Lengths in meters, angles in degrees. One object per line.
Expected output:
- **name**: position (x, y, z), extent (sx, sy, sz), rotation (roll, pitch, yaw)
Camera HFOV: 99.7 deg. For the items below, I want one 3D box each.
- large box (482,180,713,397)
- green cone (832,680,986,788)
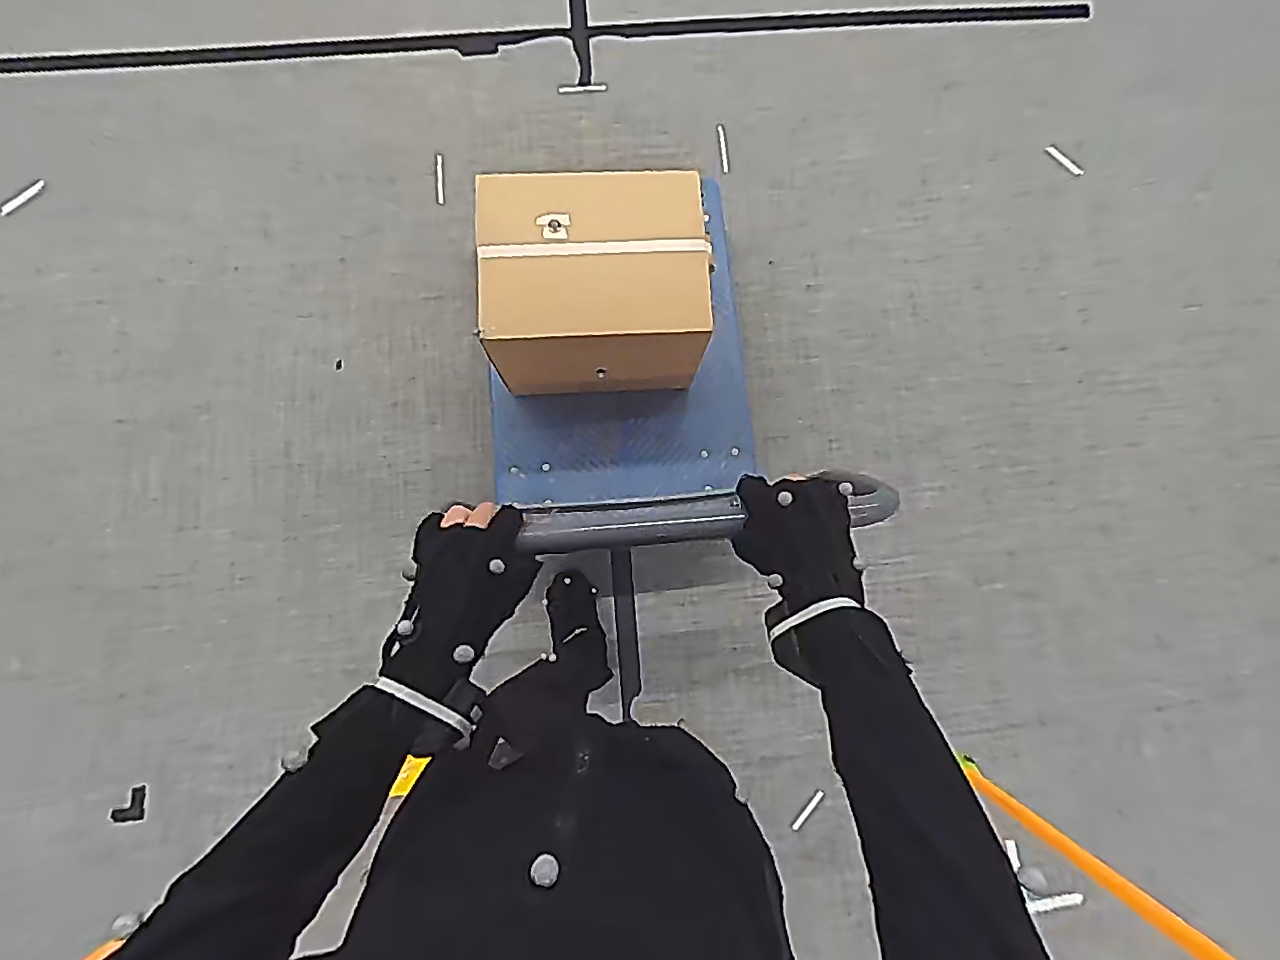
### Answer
- **large box**: position (-0.082, -0.367, 1.108), extent (0.408, 0.320, 0.320), rotation (-3, 81, -3)
- **green cone**: position (0.571, 0.553, 1.119), extent (0.202, 0.368, 0.200), rotation (-1, 80, -4)
